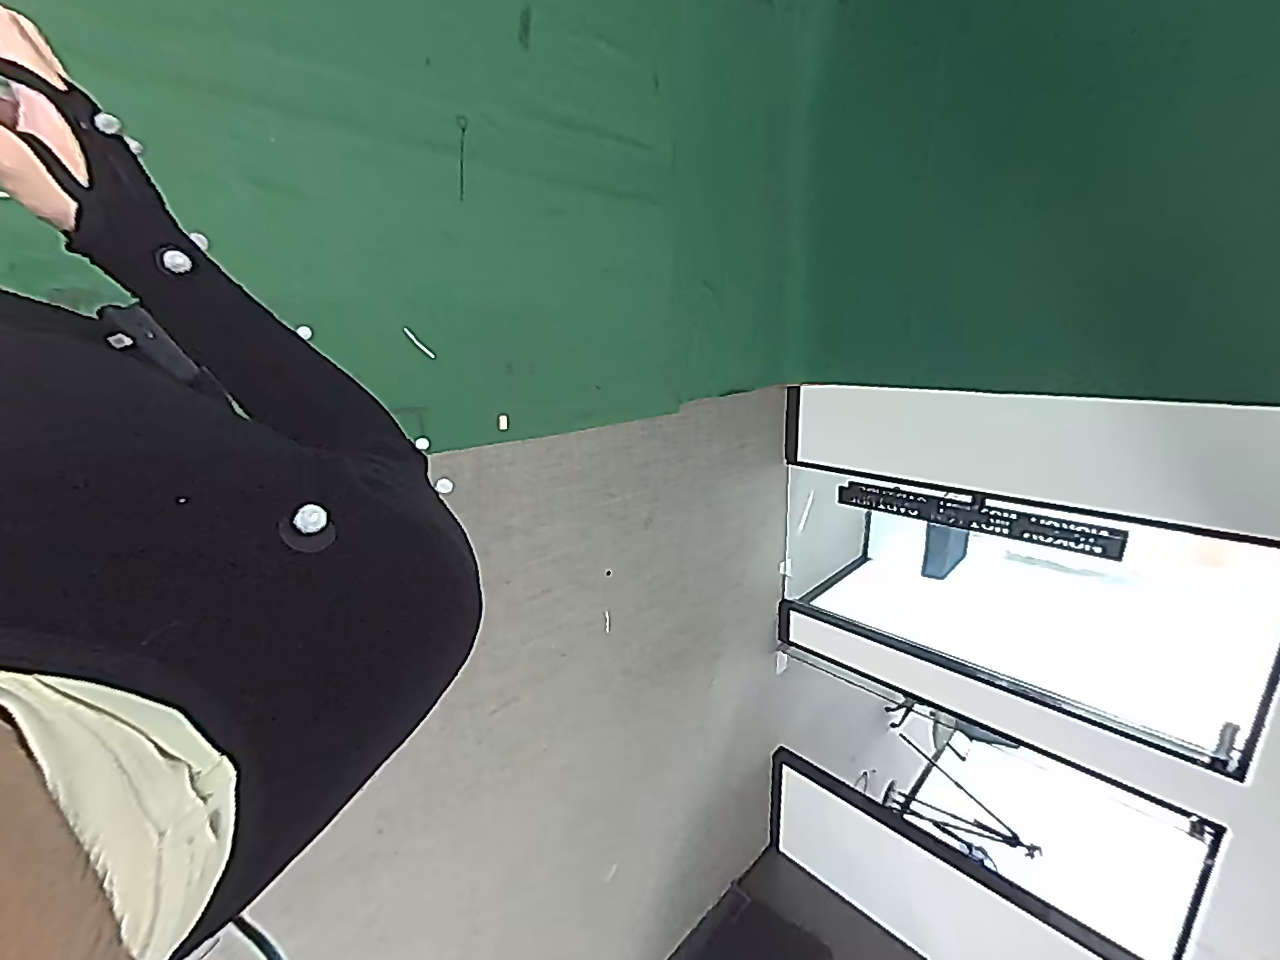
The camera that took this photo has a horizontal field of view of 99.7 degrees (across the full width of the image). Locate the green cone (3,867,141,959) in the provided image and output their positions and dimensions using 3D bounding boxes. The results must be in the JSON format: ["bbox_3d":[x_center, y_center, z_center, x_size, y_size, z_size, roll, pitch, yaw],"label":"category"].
[{"bbox_3d":[-1.214,1.073,1.154,0.202,0.368,0.200,-15,110,-41],"label":"green cone"}]
